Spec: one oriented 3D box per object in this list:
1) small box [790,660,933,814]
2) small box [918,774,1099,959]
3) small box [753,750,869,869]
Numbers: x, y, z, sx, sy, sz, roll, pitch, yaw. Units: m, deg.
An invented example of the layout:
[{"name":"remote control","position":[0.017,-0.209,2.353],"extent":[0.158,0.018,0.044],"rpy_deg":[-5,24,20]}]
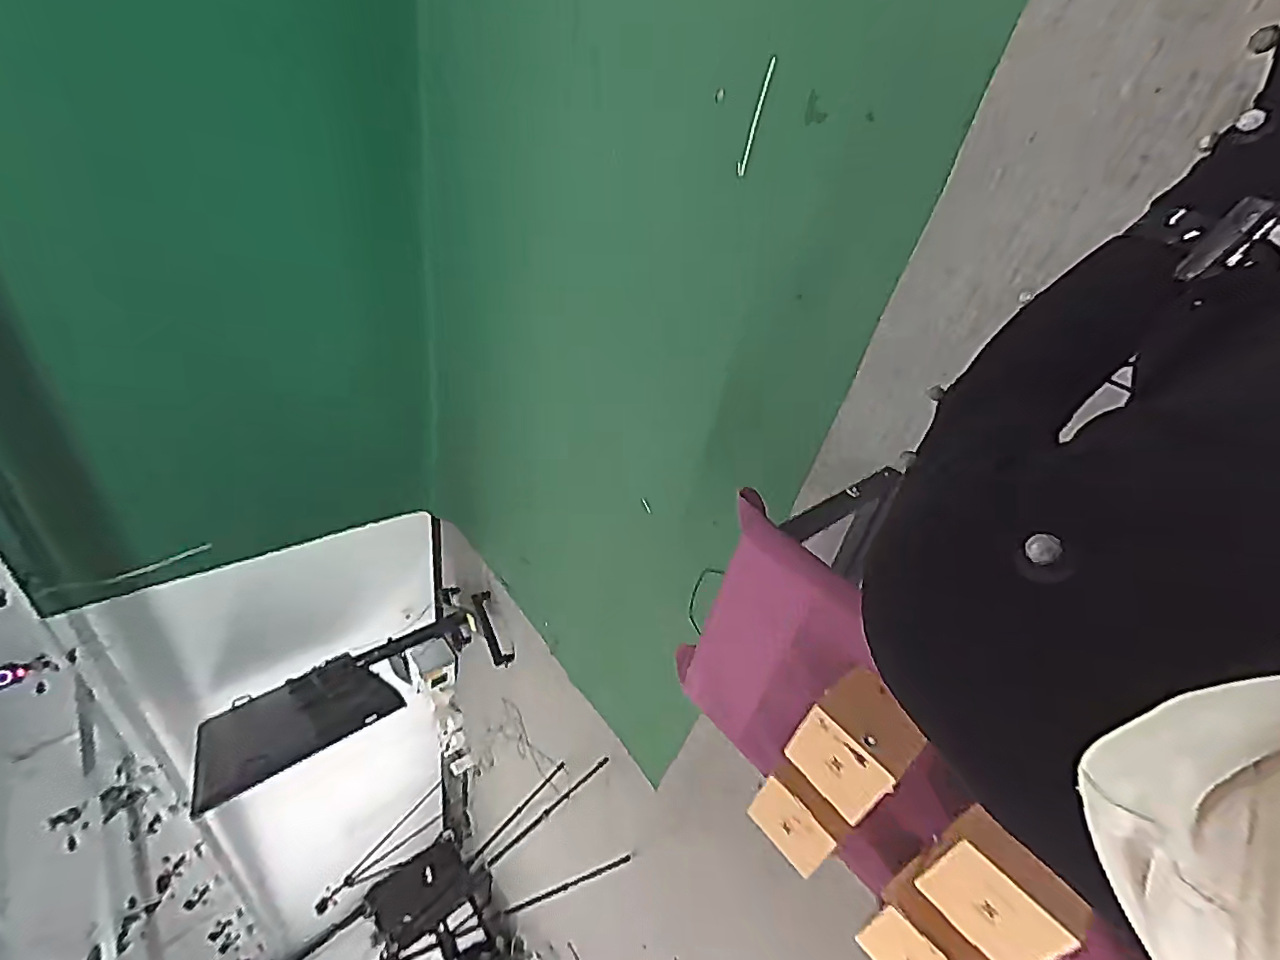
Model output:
[{"name":"small box","position":[0.429,0.491,1.048],"extent":[0.168,0.176,0.179],"rpy_deg":[41,134,33]},{"name":"small box","position":[0.606,0.635,0.891],"extent":[0.168,0.176,0.179],"rpy_deg":[39,132,34]},{"name":"small box","position":[0.384,0.691,1.186],"extent":[0.168,0.176,0.179],"rpy_deg":[40,132,33]}]
